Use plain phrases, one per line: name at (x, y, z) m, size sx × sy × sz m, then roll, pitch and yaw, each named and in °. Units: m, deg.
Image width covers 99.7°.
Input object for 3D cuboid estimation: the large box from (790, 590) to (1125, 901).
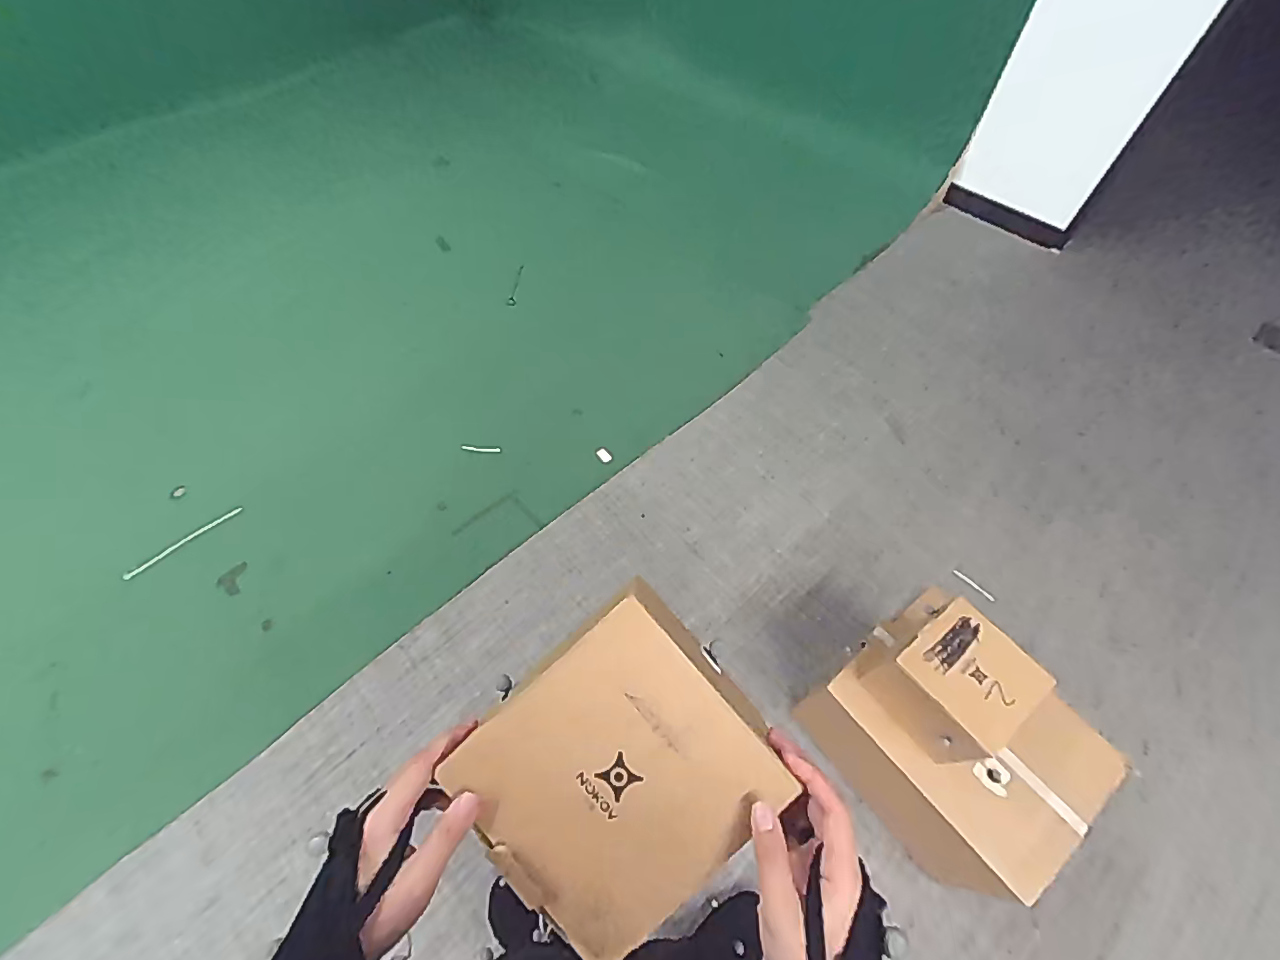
large box at (0.573, 0.499, 1.064) m, size 0.320 × 0.320 × 0.408 m, roll -35°, pitch 65°, yaw -17°
